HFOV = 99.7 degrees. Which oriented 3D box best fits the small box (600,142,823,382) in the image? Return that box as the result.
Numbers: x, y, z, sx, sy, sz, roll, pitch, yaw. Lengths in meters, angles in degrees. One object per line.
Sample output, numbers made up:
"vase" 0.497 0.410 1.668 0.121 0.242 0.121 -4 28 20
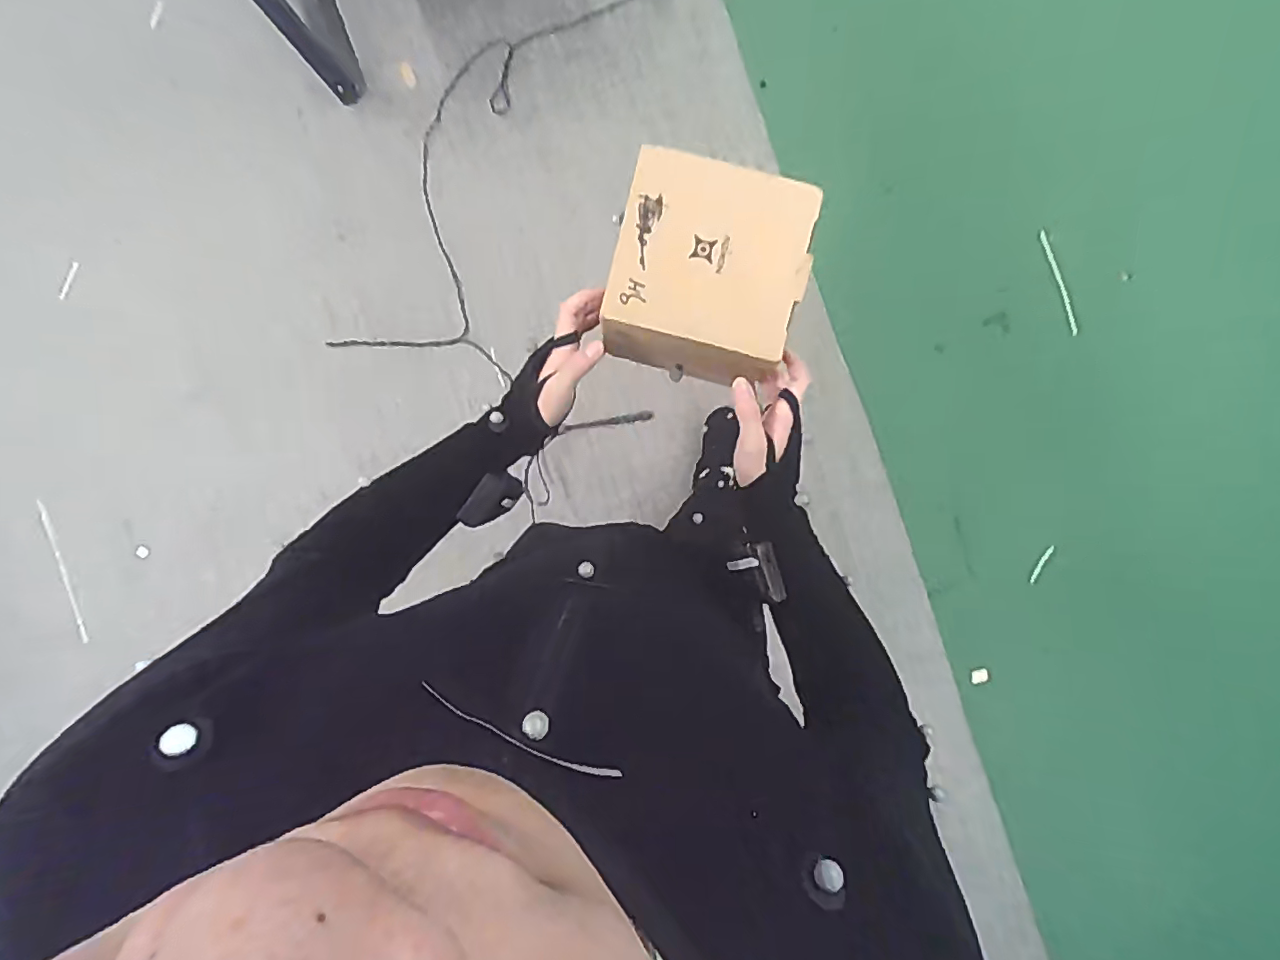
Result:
"small box" 0.063 -0.210 0.577 0.179 0.176 0.168 15 89 -2
